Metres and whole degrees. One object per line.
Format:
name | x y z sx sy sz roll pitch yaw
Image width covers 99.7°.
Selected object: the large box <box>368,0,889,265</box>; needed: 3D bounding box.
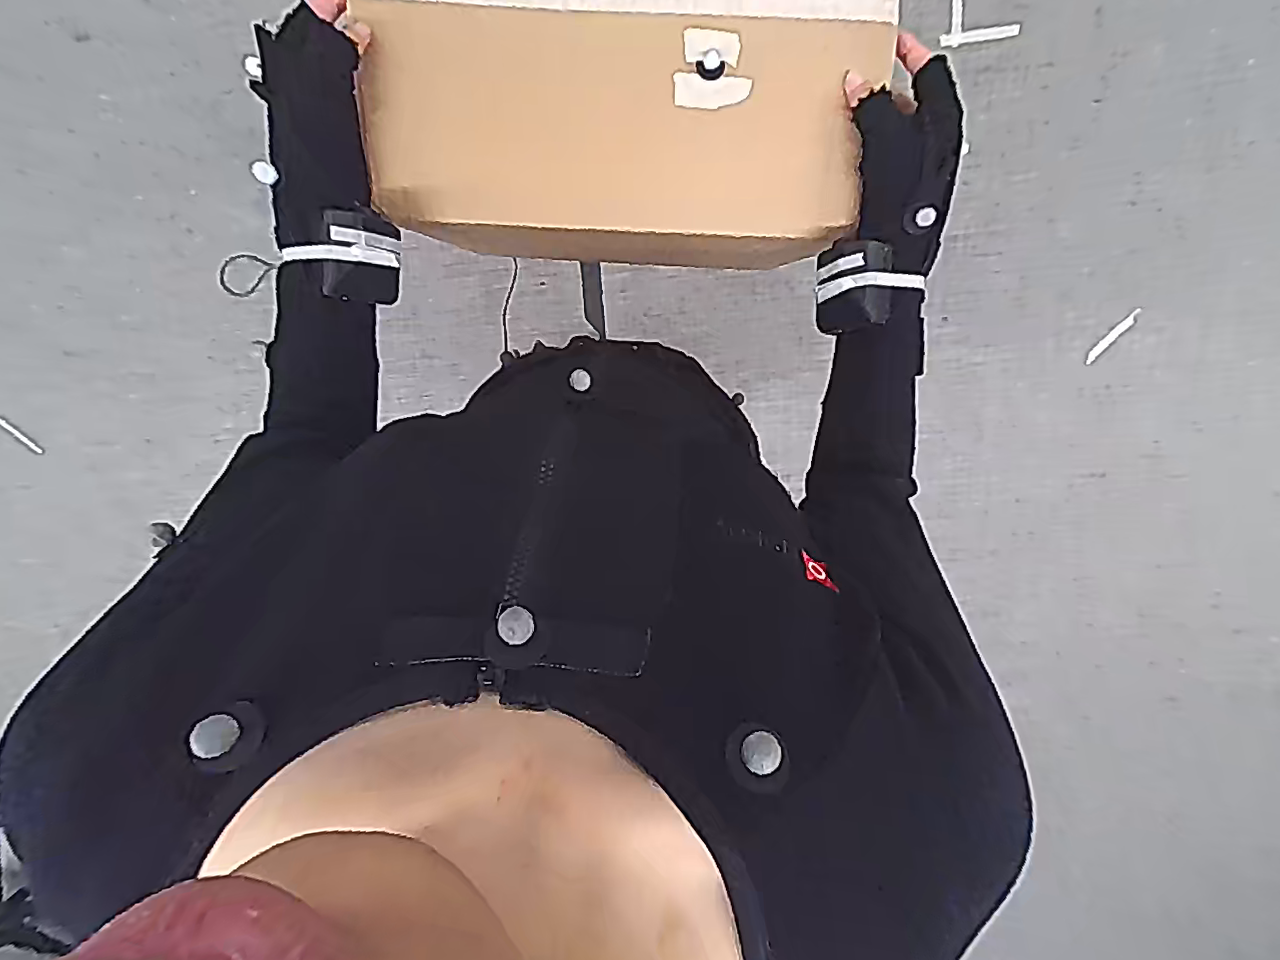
large box | -0.011 -0.404 0.554 0.408 0.320 0.320 2 107 -1
